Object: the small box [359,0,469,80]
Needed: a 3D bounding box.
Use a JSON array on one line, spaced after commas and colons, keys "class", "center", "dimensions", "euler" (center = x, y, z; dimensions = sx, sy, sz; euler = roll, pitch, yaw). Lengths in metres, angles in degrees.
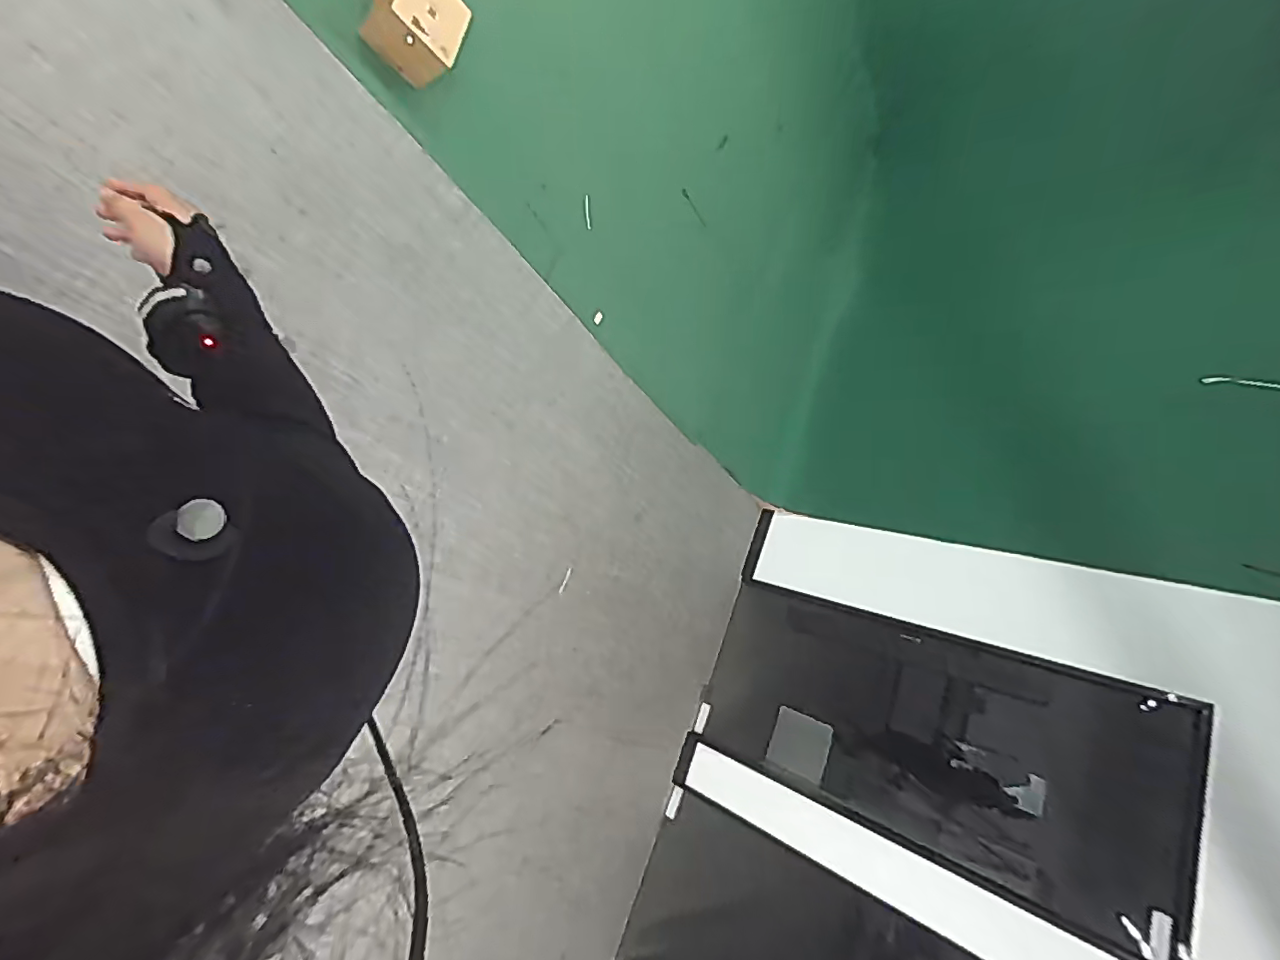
[{"class": "small box", "center": [-0.564, -1.152, 1.343], "dimensions": [0.168, 0.176, 0.179], "euler": [27, 77, -51]}]
